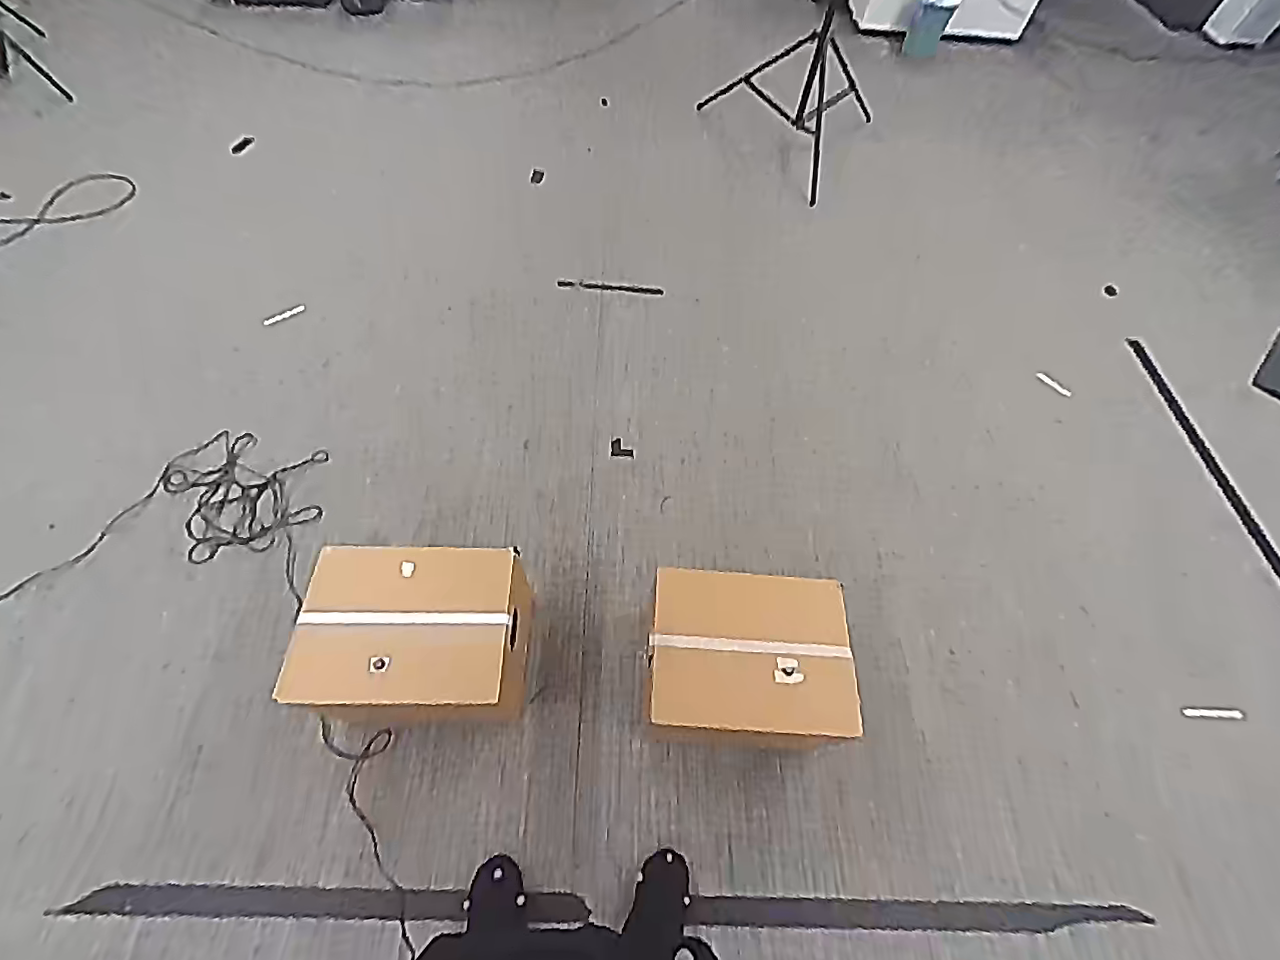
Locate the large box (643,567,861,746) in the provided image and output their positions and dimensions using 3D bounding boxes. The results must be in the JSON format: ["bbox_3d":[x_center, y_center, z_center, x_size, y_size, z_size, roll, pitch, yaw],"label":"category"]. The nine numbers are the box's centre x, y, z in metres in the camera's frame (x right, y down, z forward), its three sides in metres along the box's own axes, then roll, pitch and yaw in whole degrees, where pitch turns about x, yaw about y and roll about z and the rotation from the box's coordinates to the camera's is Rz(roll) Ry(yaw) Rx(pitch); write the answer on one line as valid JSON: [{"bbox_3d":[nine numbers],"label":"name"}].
[{"bbox_3d":[0.220,0.410,1.227,0.408,0.320,0.320,5,59,-2],"label":"large box"}]
